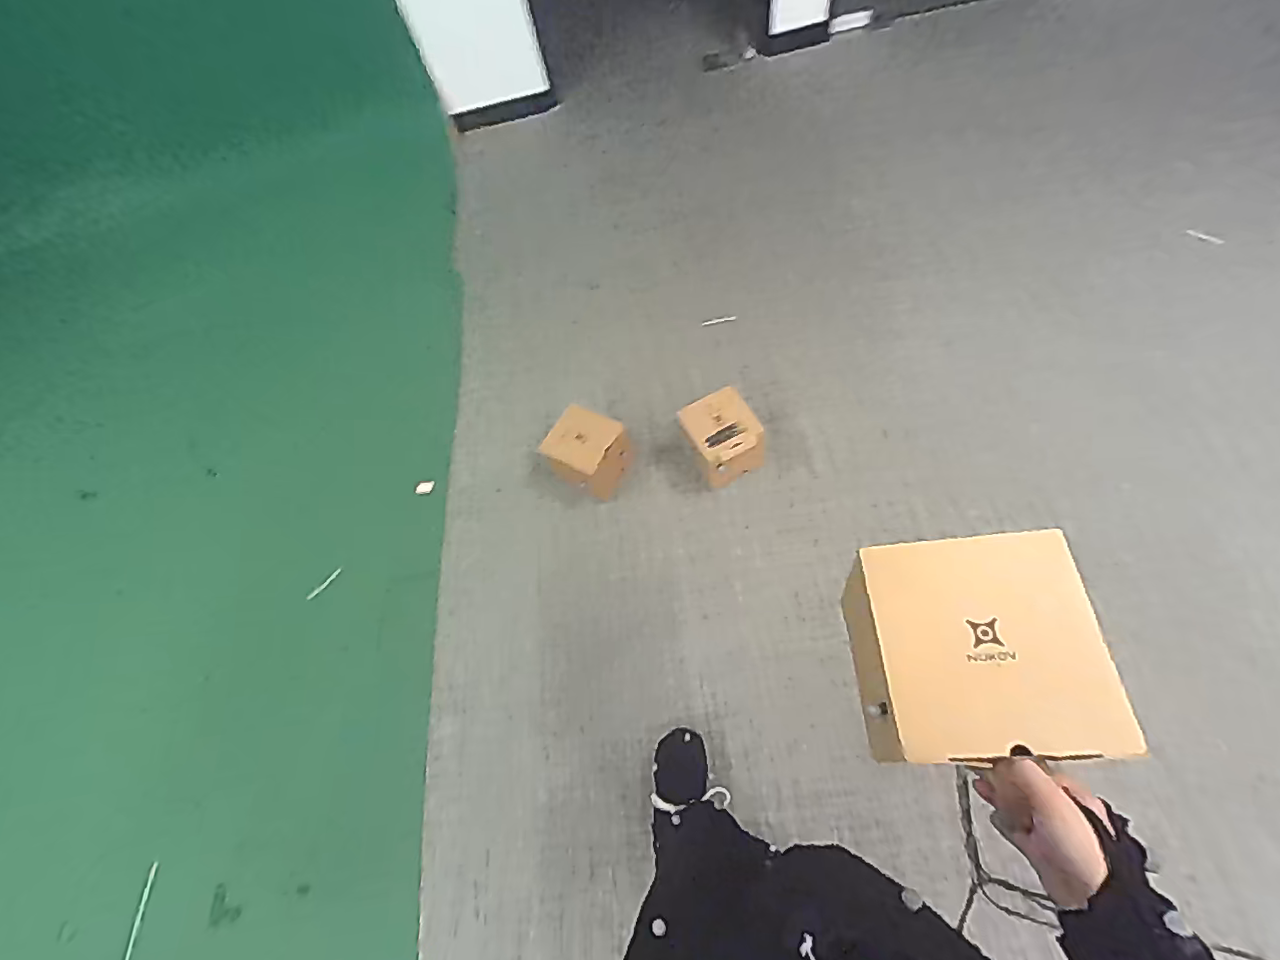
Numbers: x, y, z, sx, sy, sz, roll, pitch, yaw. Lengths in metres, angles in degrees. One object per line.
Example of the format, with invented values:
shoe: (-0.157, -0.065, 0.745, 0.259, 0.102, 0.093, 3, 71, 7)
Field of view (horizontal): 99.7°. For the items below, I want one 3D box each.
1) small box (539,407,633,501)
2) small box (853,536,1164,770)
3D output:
small box: (-0.138, -0.063, 1.464, 0.179, 0.176, 0.168, 23, 68, 22)
small box: (0.303, 0.166, 0.498, 0.168, 0.176, 0.179, -6, 63, 11)
